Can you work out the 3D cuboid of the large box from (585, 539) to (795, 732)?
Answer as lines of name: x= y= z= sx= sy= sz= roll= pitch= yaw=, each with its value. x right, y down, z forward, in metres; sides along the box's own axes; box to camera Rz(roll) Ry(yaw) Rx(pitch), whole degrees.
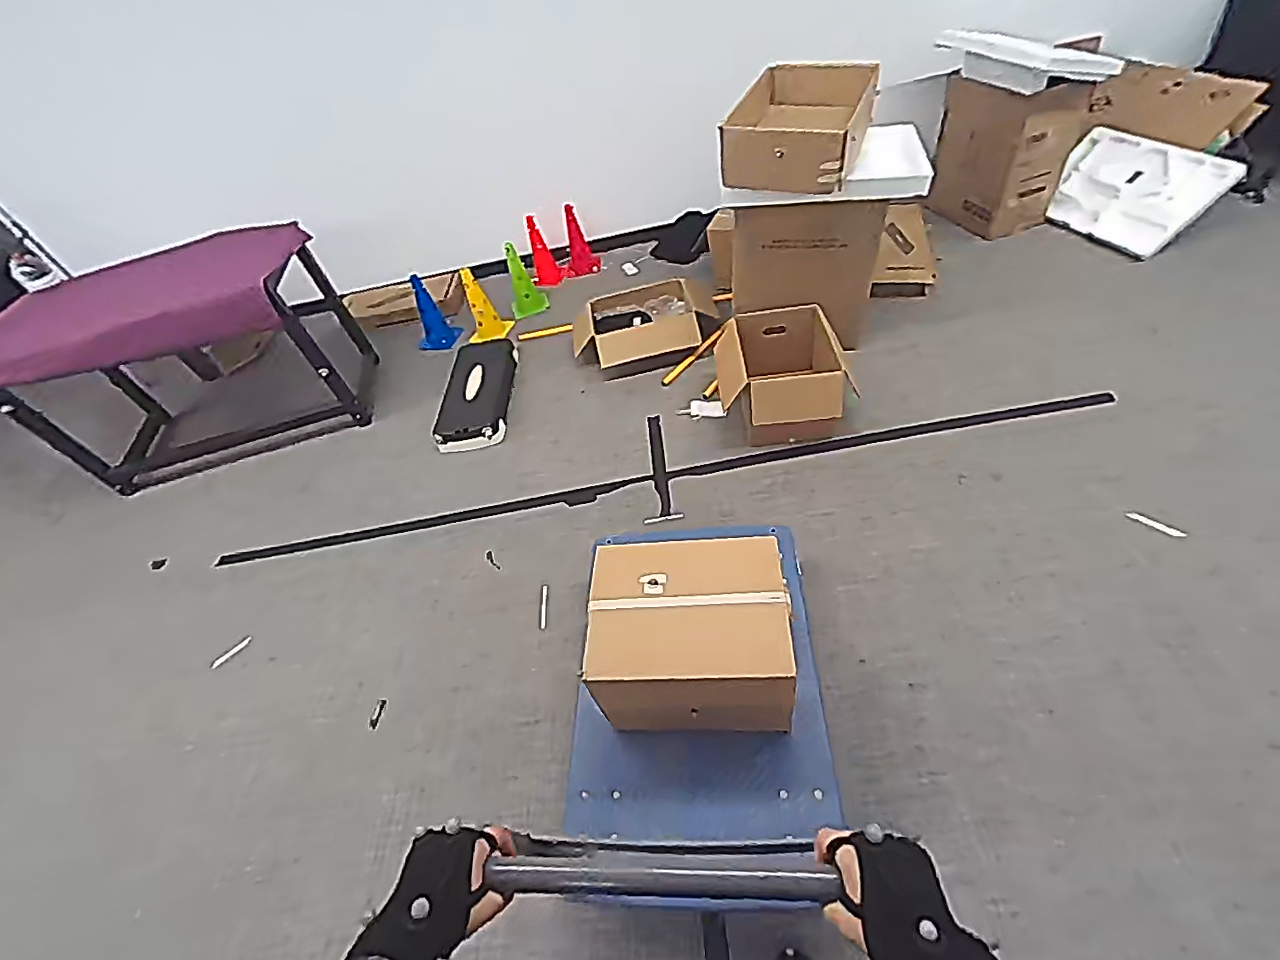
large box: x=0.120 y=0.362 z=1.227 sx=0.408 sy=0.320 sz=0.320 roll=-6 pitch=47 yaw=9
